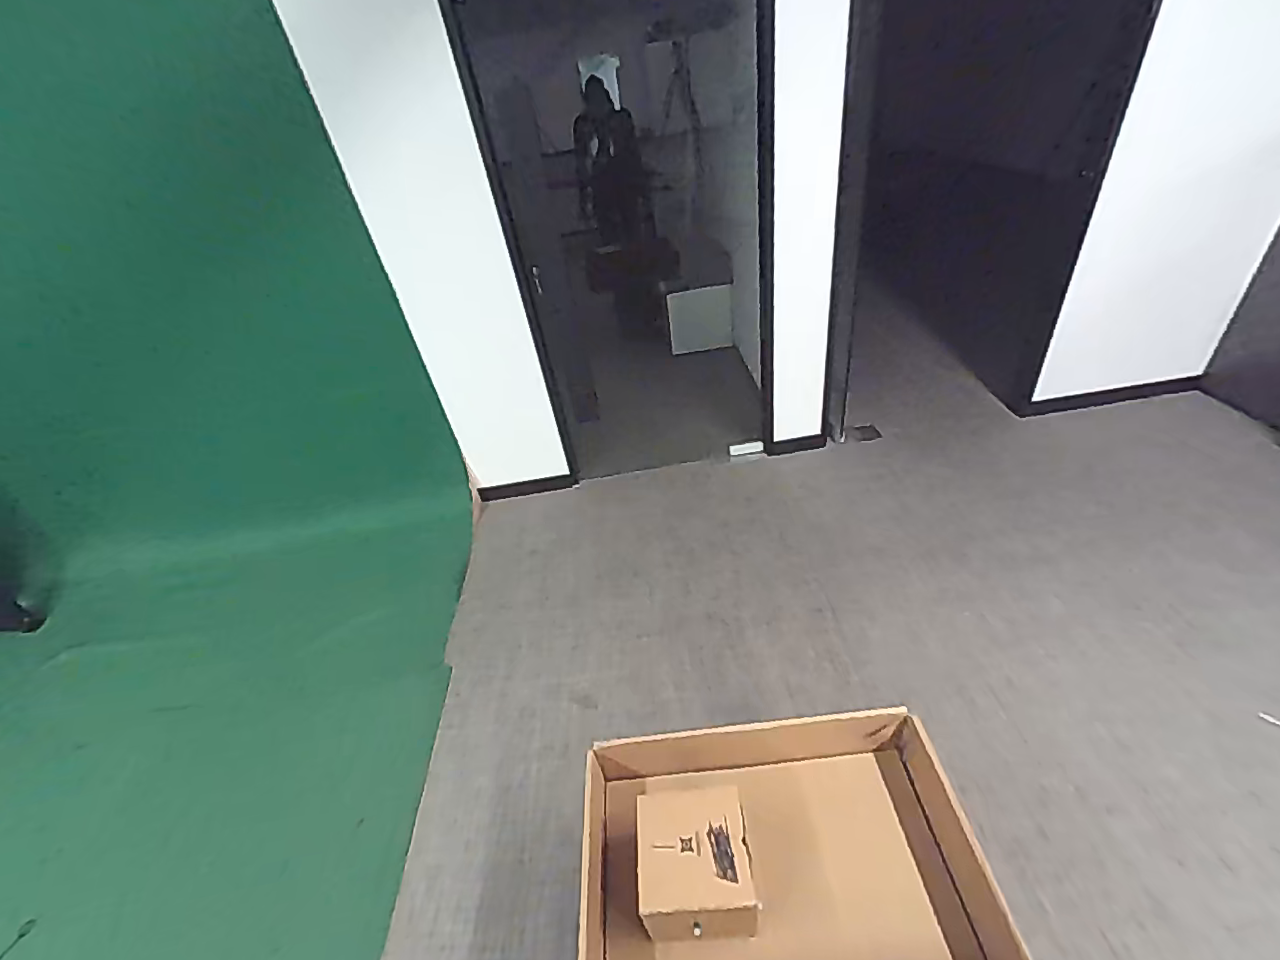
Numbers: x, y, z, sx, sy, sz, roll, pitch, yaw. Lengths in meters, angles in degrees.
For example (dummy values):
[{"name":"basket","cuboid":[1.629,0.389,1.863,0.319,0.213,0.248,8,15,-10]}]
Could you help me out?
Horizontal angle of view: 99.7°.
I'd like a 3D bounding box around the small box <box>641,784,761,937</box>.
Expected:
[{"name":"small box","cuboid":[0.099,0.630,0.895,0.179,0.176,0.168,-7,37,5]}]
